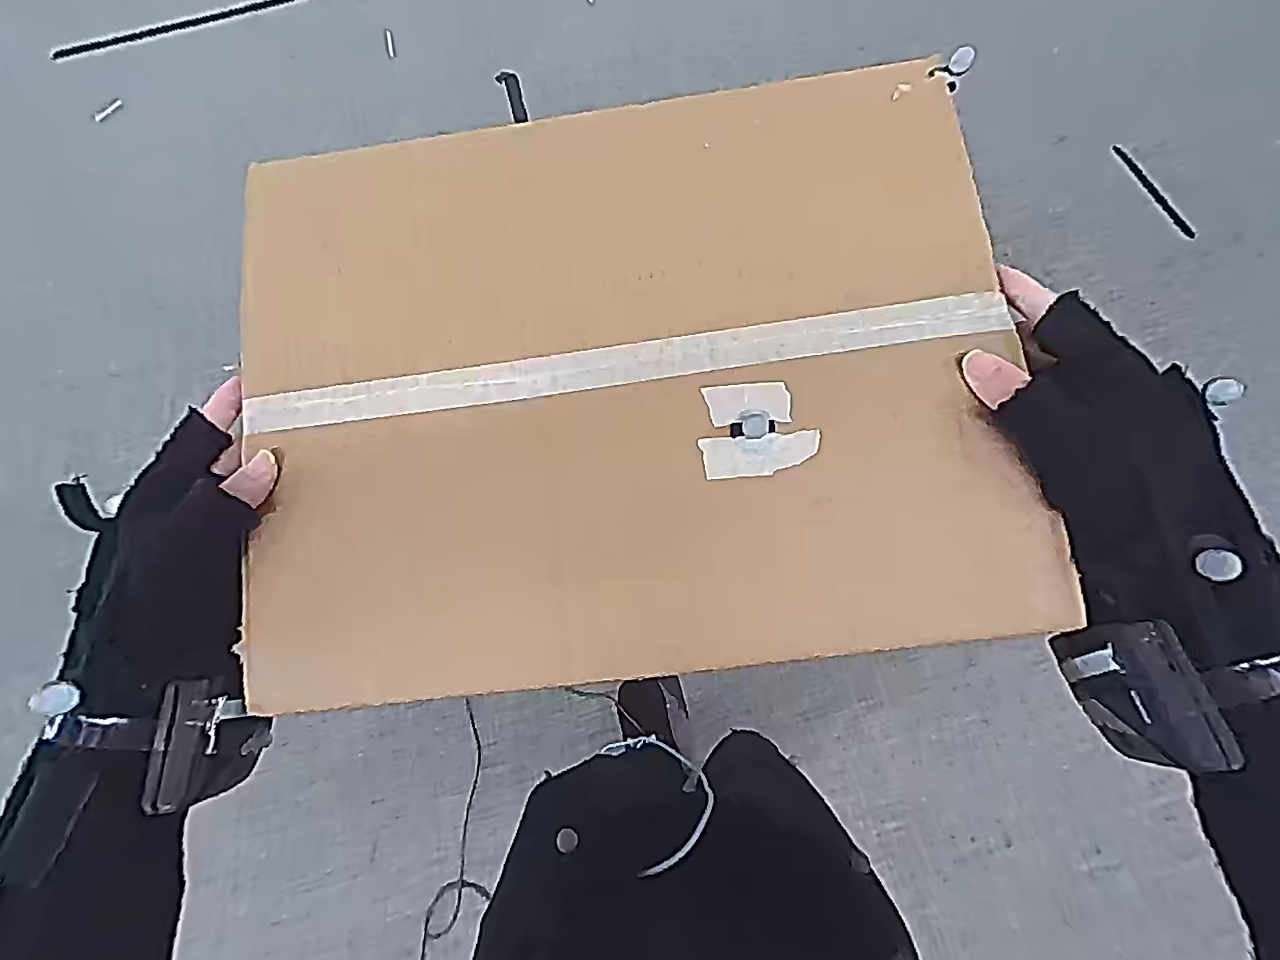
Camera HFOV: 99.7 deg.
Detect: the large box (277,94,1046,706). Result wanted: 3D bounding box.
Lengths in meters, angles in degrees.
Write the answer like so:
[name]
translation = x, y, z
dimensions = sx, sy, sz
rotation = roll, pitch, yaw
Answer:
[large box]
translation = -0.003, -0.031, 0.449
dimensions = 0.408, 0.320, 0.320
rotation = -7, 81, 2
